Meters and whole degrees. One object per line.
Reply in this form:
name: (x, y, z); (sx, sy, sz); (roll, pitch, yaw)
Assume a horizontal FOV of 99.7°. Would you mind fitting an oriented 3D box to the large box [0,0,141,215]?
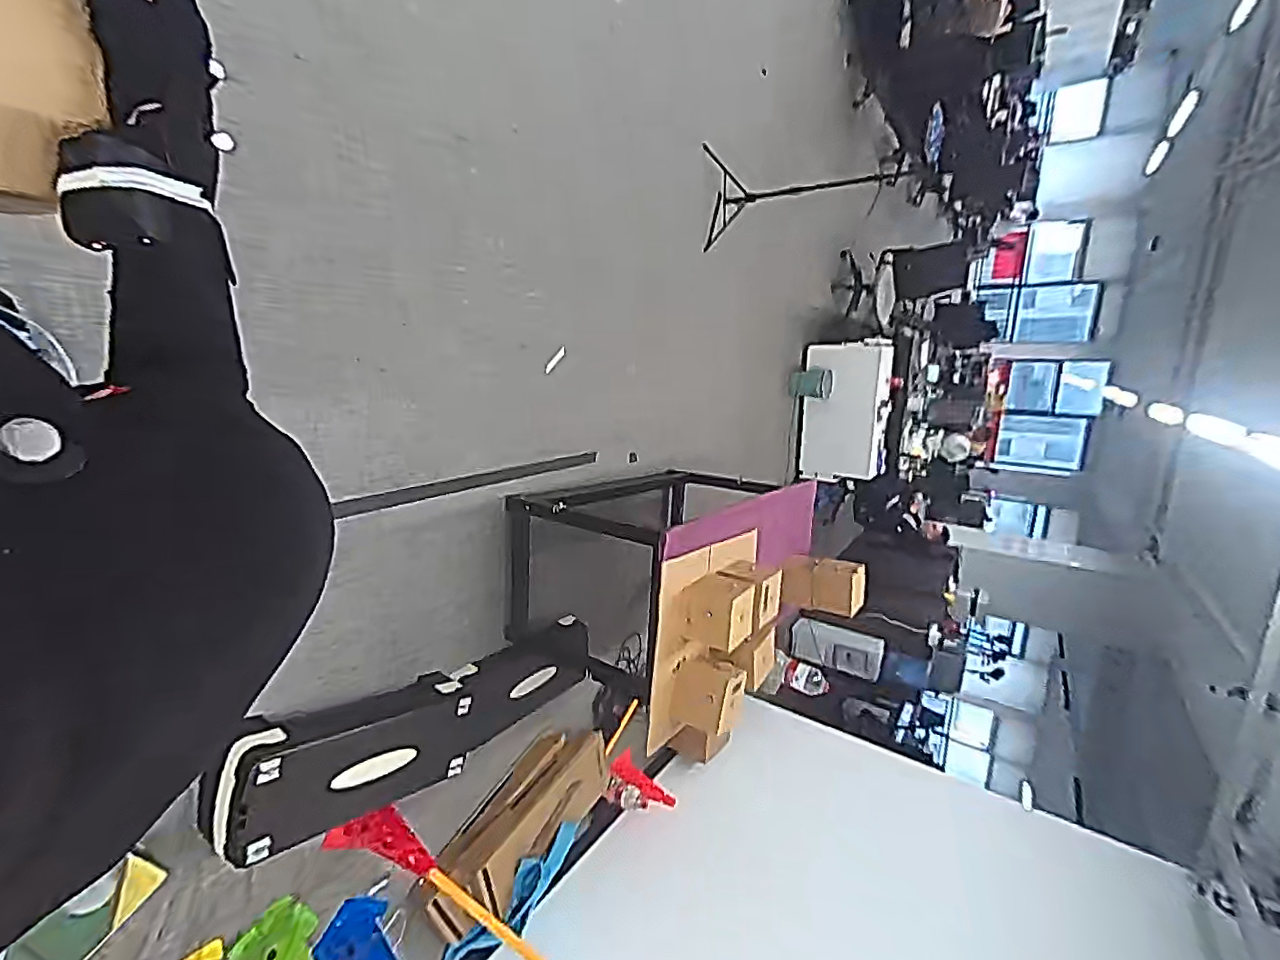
large box: (-0.617, -0.357, 0.306); (0.408, 0.320, 0.320); (-17, 120, -55)
